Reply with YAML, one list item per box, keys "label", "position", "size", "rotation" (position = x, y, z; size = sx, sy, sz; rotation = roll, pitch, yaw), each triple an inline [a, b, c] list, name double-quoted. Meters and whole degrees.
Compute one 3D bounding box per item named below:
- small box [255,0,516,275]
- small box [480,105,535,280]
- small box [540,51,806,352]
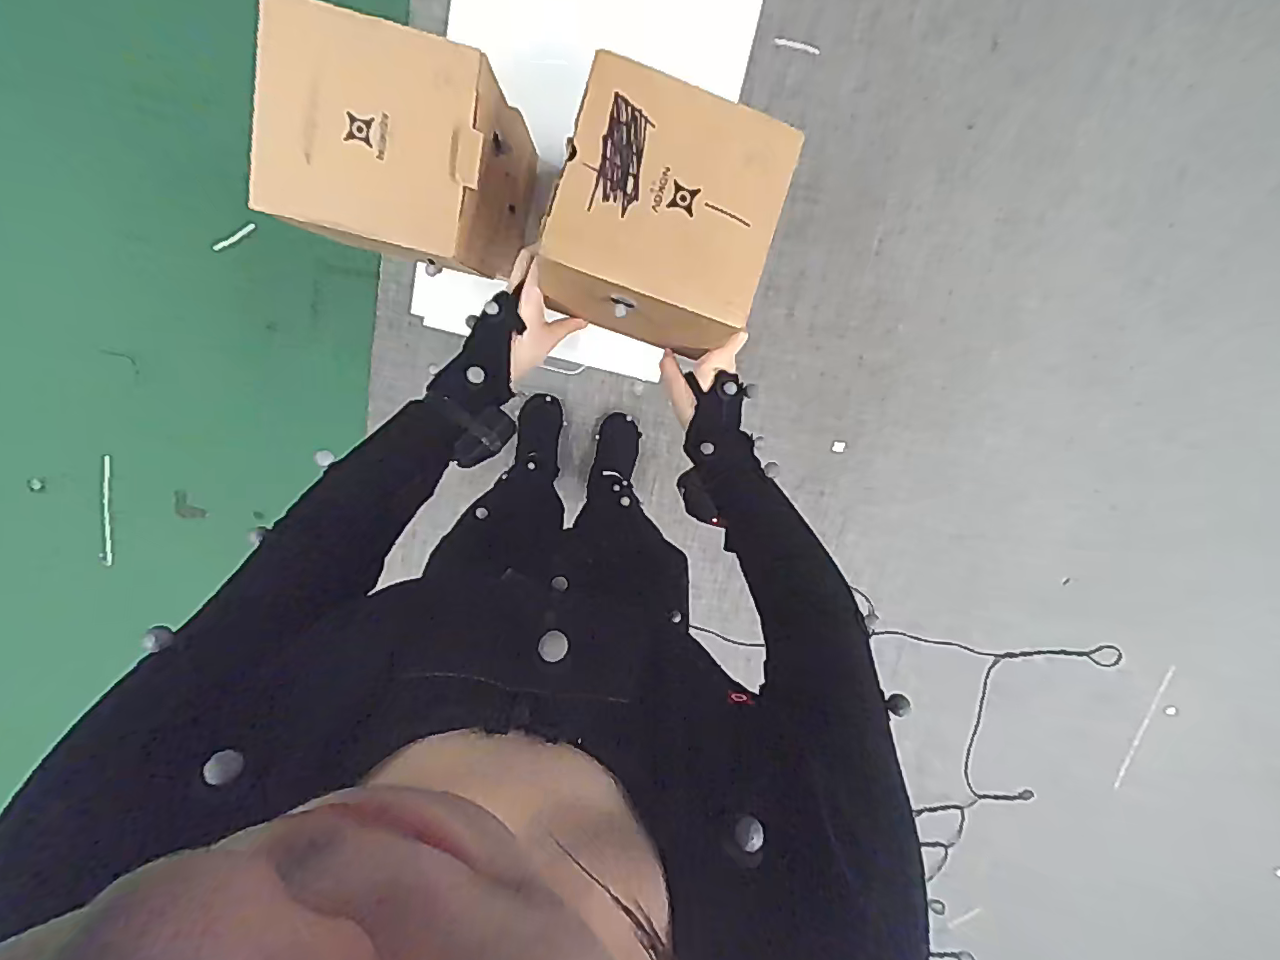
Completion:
- label: "small box"
  position: [-0.228, -0.306, 0.524]
  size: [0.179, 0.176, 0.168]
  rotation: [12, 103, -6]
- label: "small box"
  position: [-0.233, -0.362, 0.677]
  size: [0.168, 0.176, 0.179]
  rotation: [13, 104, -7]
- label: "small box"
  position: [0.017, -0.230, 0.503]
  size: [0.179, 0.176, 0.168]
  rotation: [18, 92, -9]
